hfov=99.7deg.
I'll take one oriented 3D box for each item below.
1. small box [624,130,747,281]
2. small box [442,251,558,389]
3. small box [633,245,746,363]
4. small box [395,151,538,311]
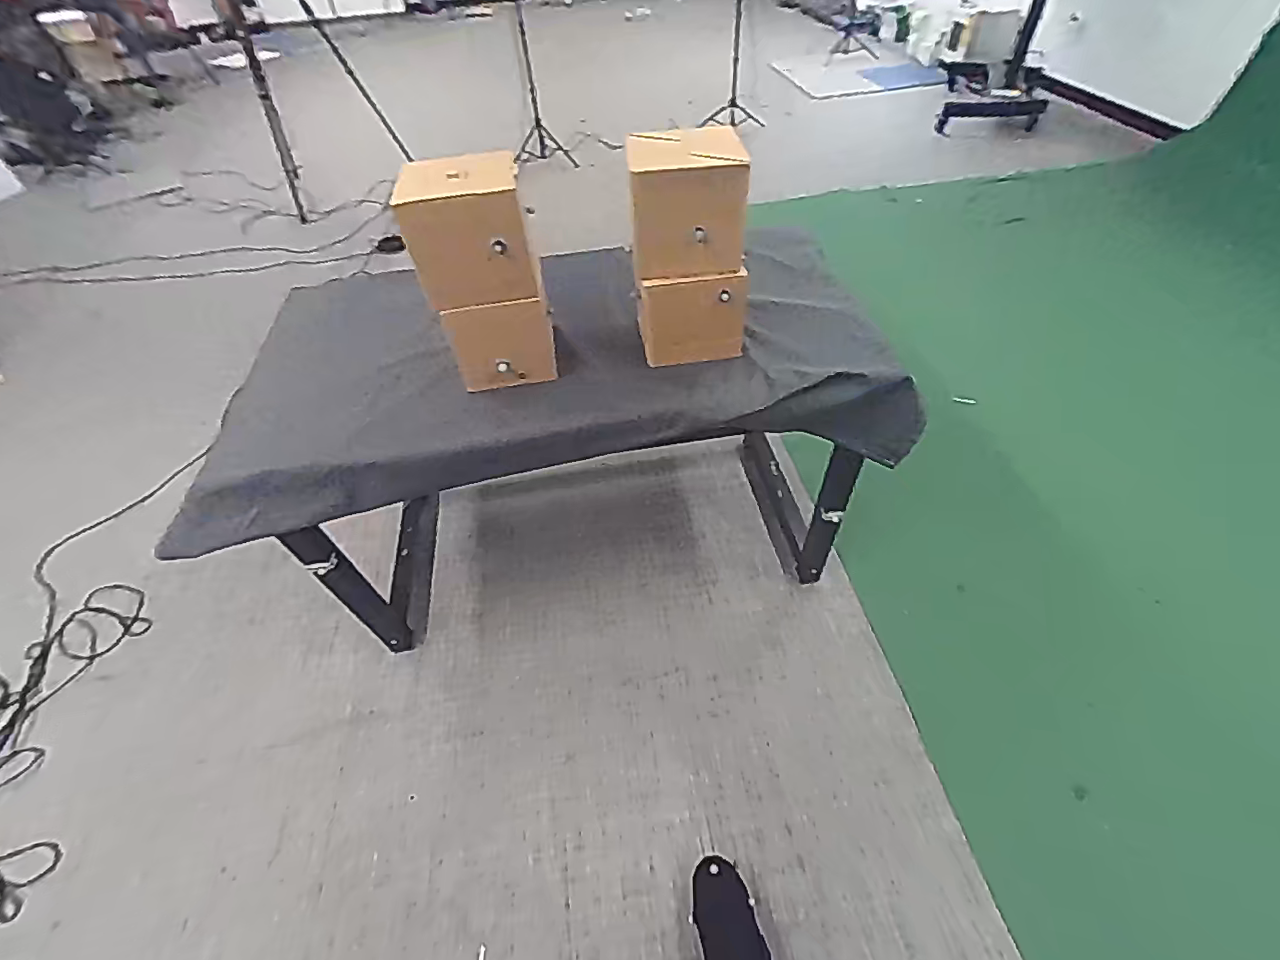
[{"bbox_3d":[0.072,-0.452,0.884,0.179,0.176,0.168,-5,49,0],"label":"small box"},{"bbox_3d":[-0.248,-0.291,0.987,0.168,0.176,0.179,-9,50,-3],"label":"small box"},{"bbox_3d":[0.087,-0.333,1.002,0.179,0.176,0.168,-7,49,-3],"label":"small box"},{"bbox_3d":[-0.262,-0.394,0.863,0.179,0.176,0.168,-11,49,-3],"label":"small box"}]
